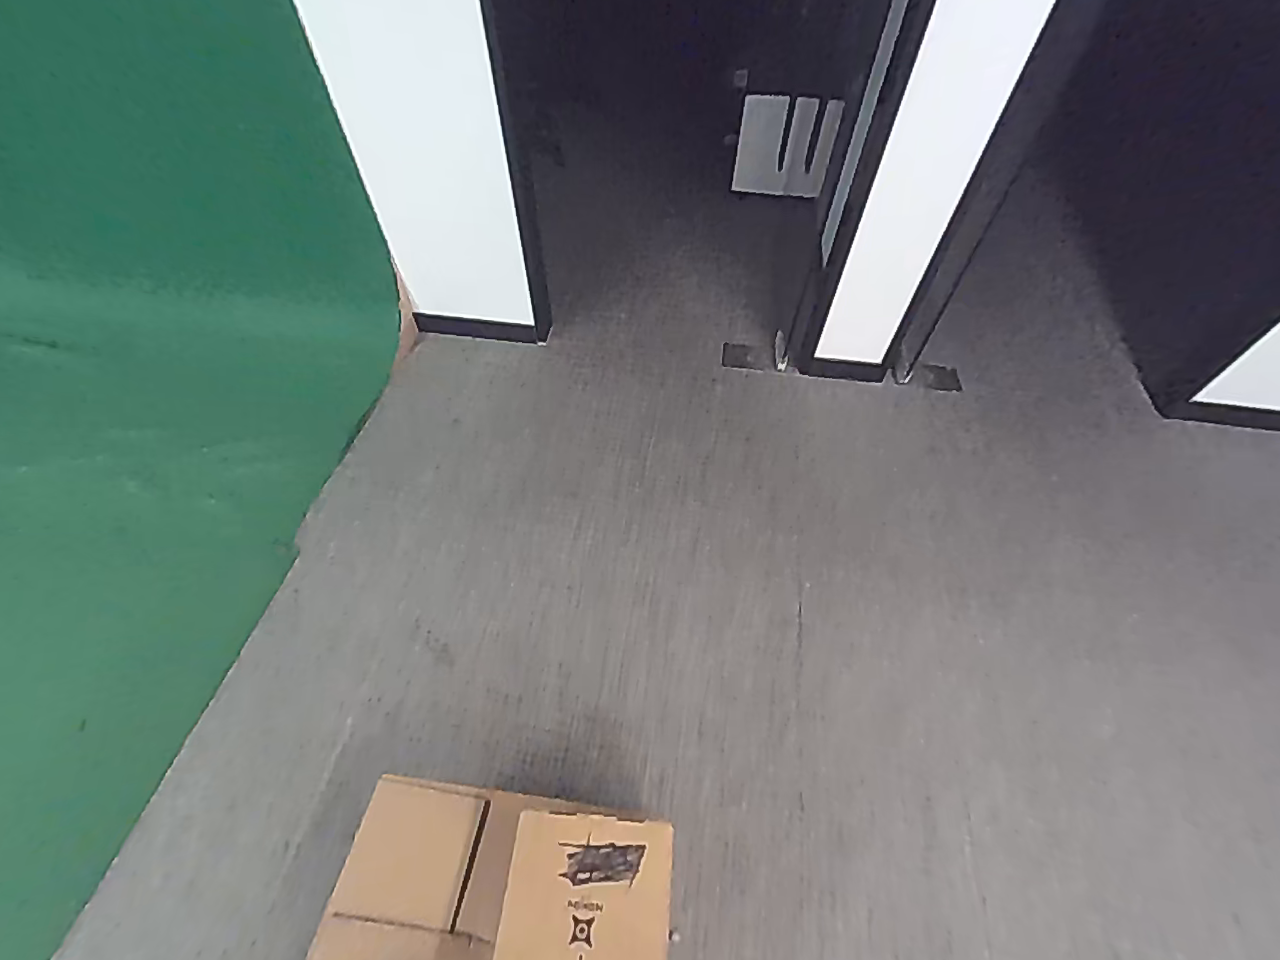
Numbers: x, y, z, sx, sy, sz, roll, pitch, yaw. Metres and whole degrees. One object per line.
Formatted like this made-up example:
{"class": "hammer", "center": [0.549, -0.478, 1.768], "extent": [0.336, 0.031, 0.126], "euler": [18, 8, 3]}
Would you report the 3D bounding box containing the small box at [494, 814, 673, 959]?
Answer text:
{"class": "small box", "center": [-0.054, 0.486, 0.593], "extent": [0.168, 0.176, 0.179], "euler": [4, 54, 5]}
